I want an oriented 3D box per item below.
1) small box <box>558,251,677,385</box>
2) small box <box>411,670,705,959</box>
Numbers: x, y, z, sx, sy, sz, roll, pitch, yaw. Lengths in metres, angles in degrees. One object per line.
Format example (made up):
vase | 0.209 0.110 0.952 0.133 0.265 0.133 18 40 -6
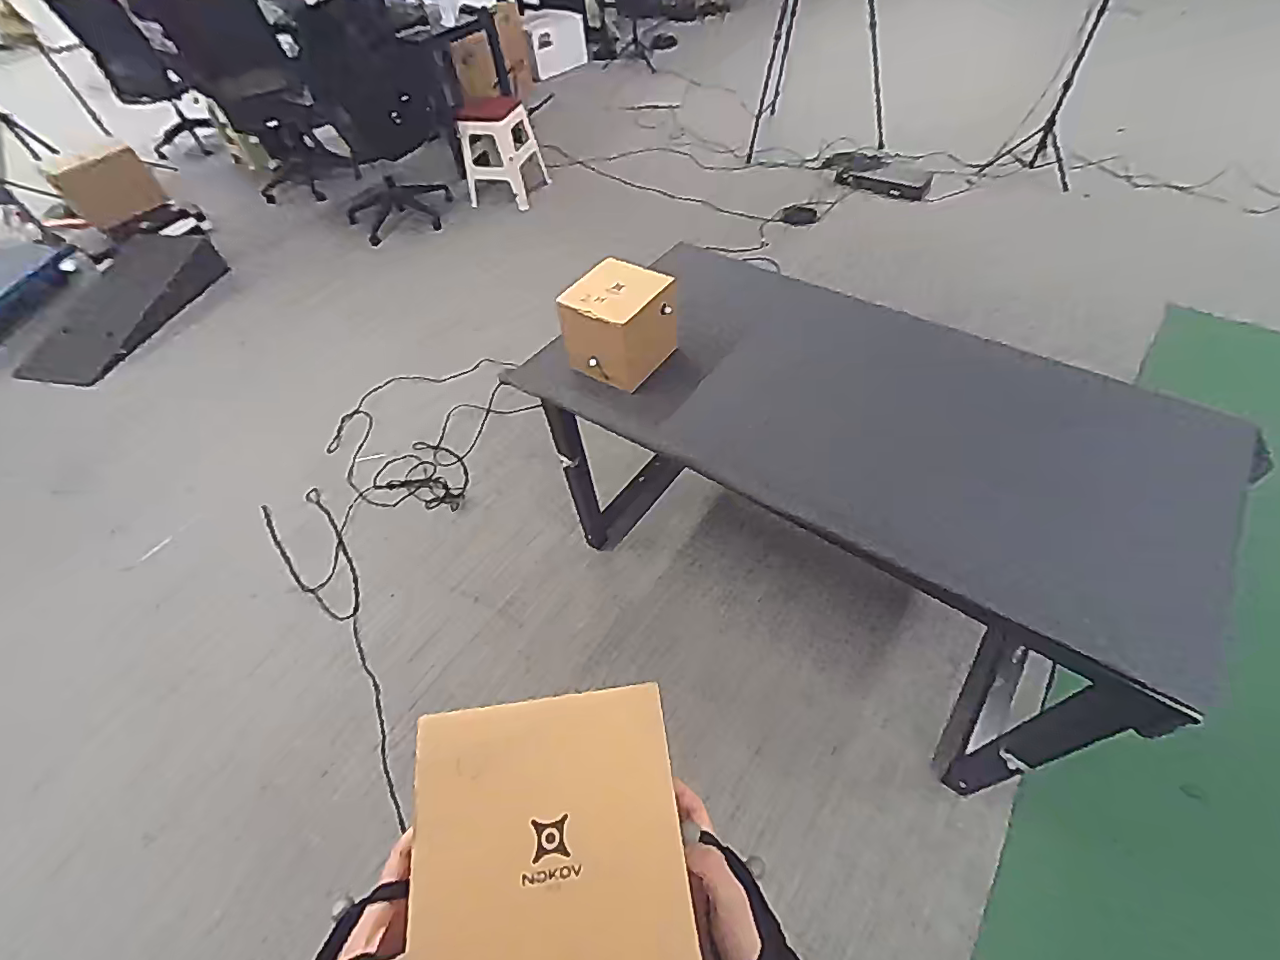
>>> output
small box | -0.040 -0.326 1.094 0.168 0.176 0.179 28 60 24
small box | -0.062 0.256 0.403 0.168 0.176 0.179 -5 61 -9
